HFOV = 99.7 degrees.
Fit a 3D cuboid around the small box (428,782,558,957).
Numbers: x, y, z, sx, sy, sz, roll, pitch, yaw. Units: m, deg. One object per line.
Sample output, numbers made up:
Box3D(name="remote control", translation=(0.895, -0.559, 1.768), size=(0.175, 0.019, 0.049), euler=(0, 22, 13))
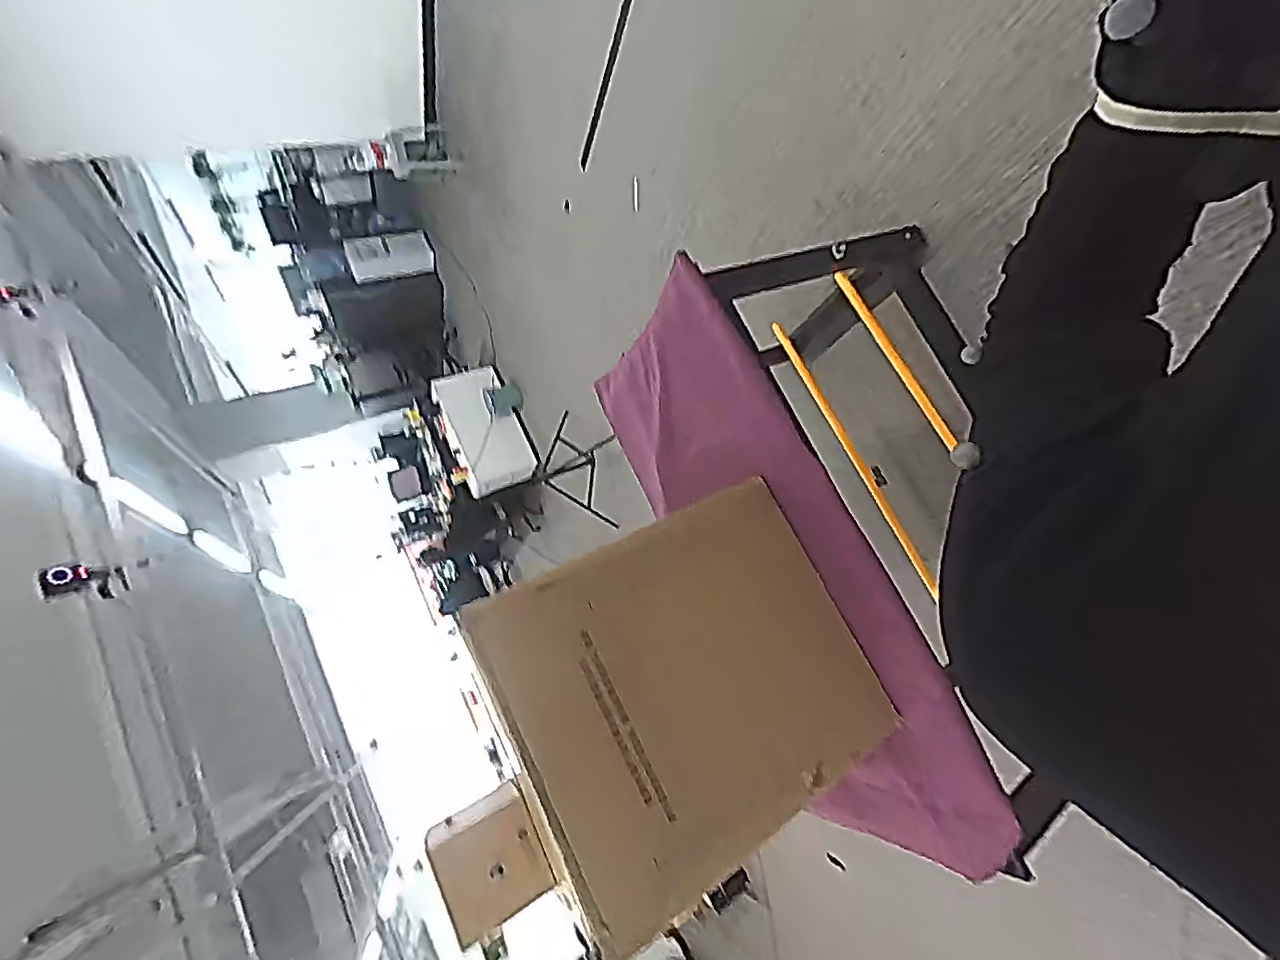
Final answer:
Box3D(name="small box", translation=(-0.261, 0.670, 0.960), size=(0.168, 0.176, 0.179), euler=(65, 155, 9))
